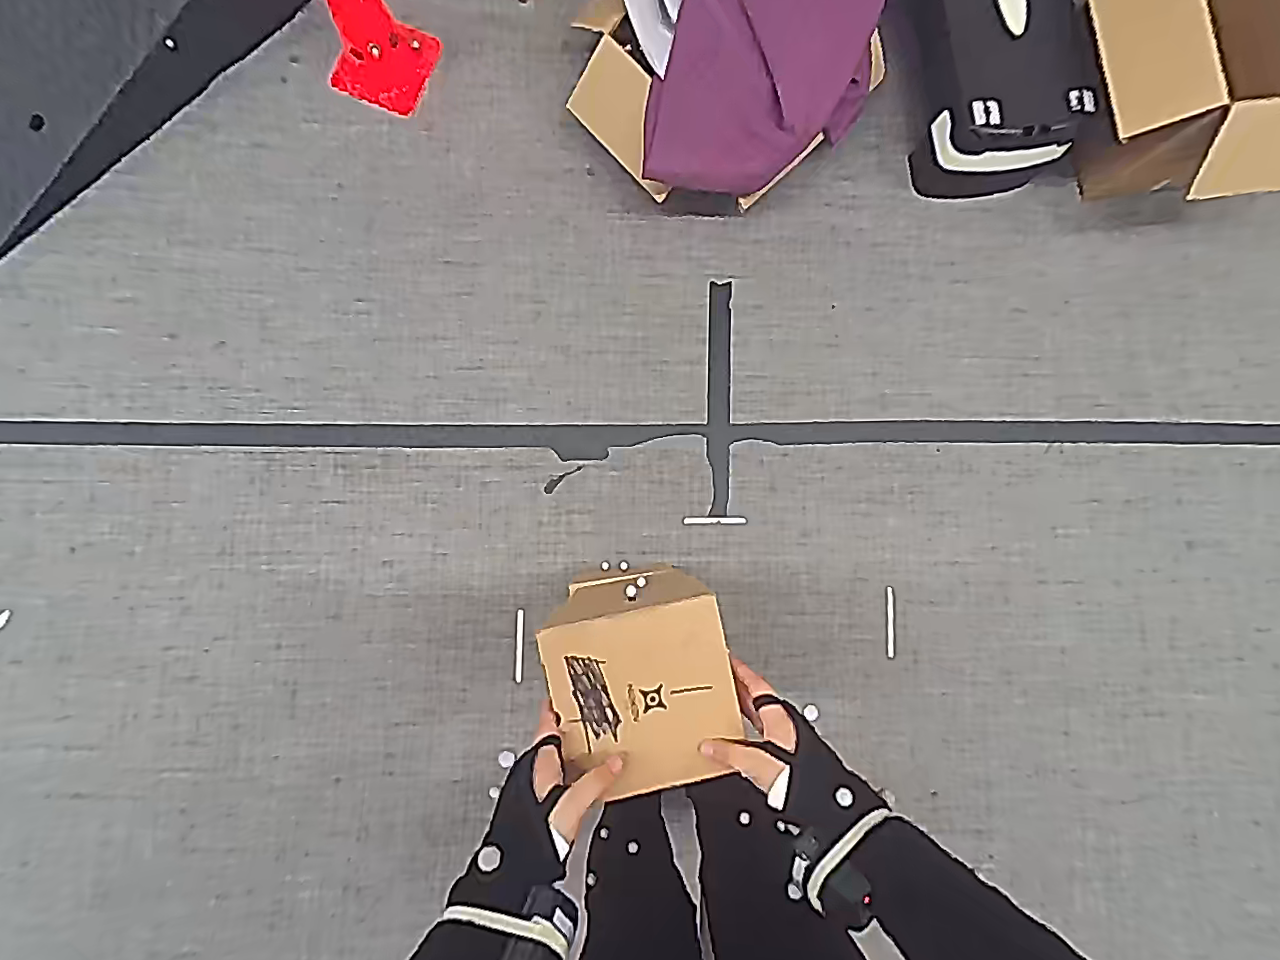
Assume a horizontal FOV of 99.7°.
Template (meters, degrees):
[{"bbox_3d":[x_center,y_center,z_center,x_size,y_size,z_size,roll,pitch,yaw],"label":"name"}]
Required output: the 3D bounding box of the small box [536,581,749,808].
[{"bbox_3d":[0.000,0.212,0.582,0.179,0.176,0.168,-11,86,-3],"label":"small box"}]

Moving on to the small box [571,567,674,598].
[{"bbox_3d":[-0.020,0.244,0.909,0.168,0.176,0.179,-8,86,-1],"label":"small box"}]

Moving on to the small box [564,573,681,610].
[{"bbox_3d":[-0.002,0.235,0.746,0.168,0.176,0.179,-10,86,-2],"label":"small box"}]
